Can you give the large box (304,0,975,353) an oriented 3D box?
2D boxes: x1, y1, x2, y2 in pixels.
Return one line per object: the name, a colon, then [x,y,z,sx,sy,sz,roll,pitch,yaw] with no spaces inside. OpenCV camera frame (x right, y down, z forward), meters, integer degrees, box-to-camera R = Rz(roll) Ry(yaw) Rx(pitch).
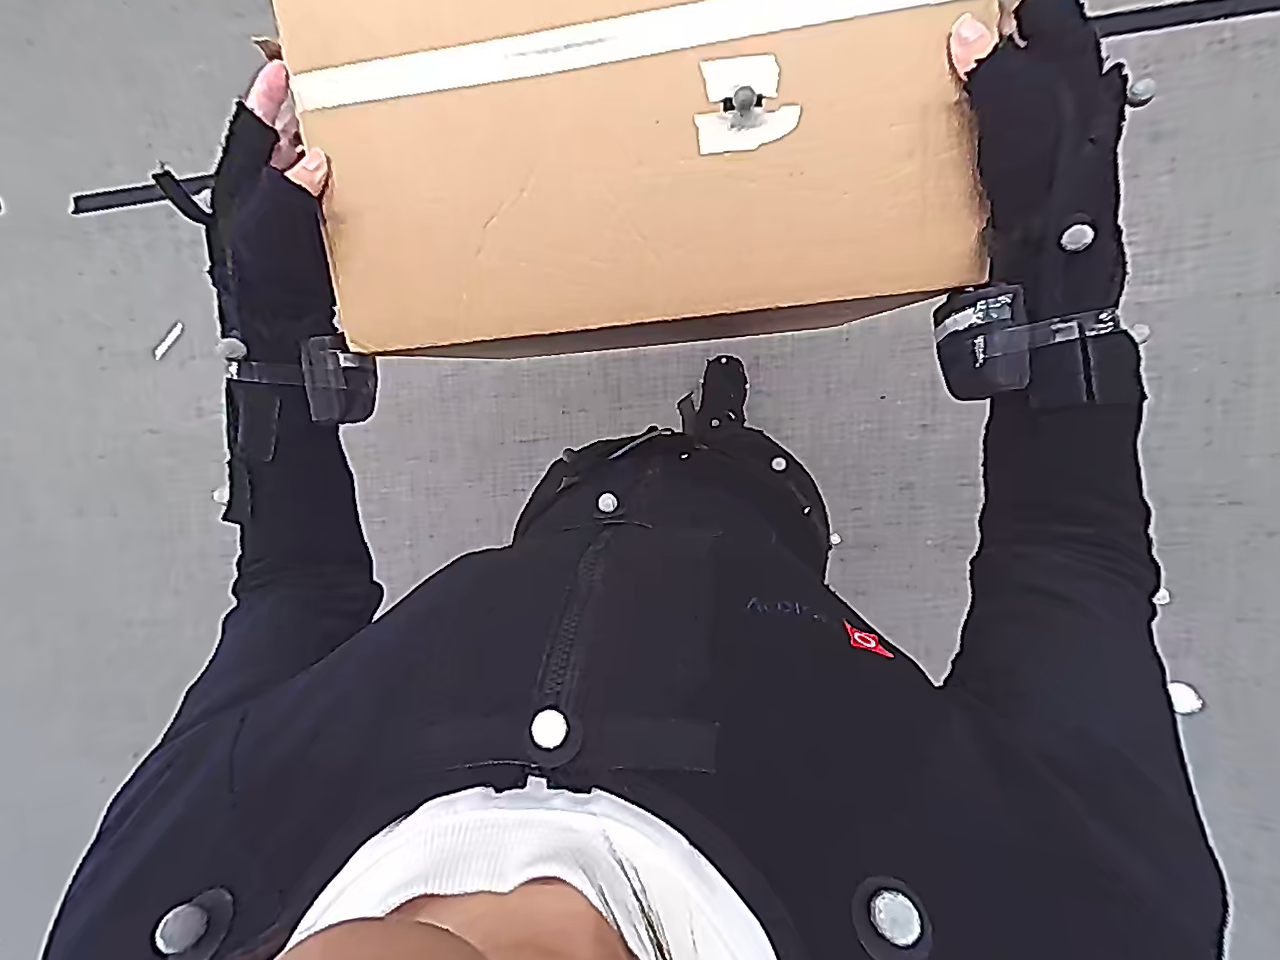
large box: [0.003,-0.294,0.470,0.408,0.320,0.320,-5,102,5]
